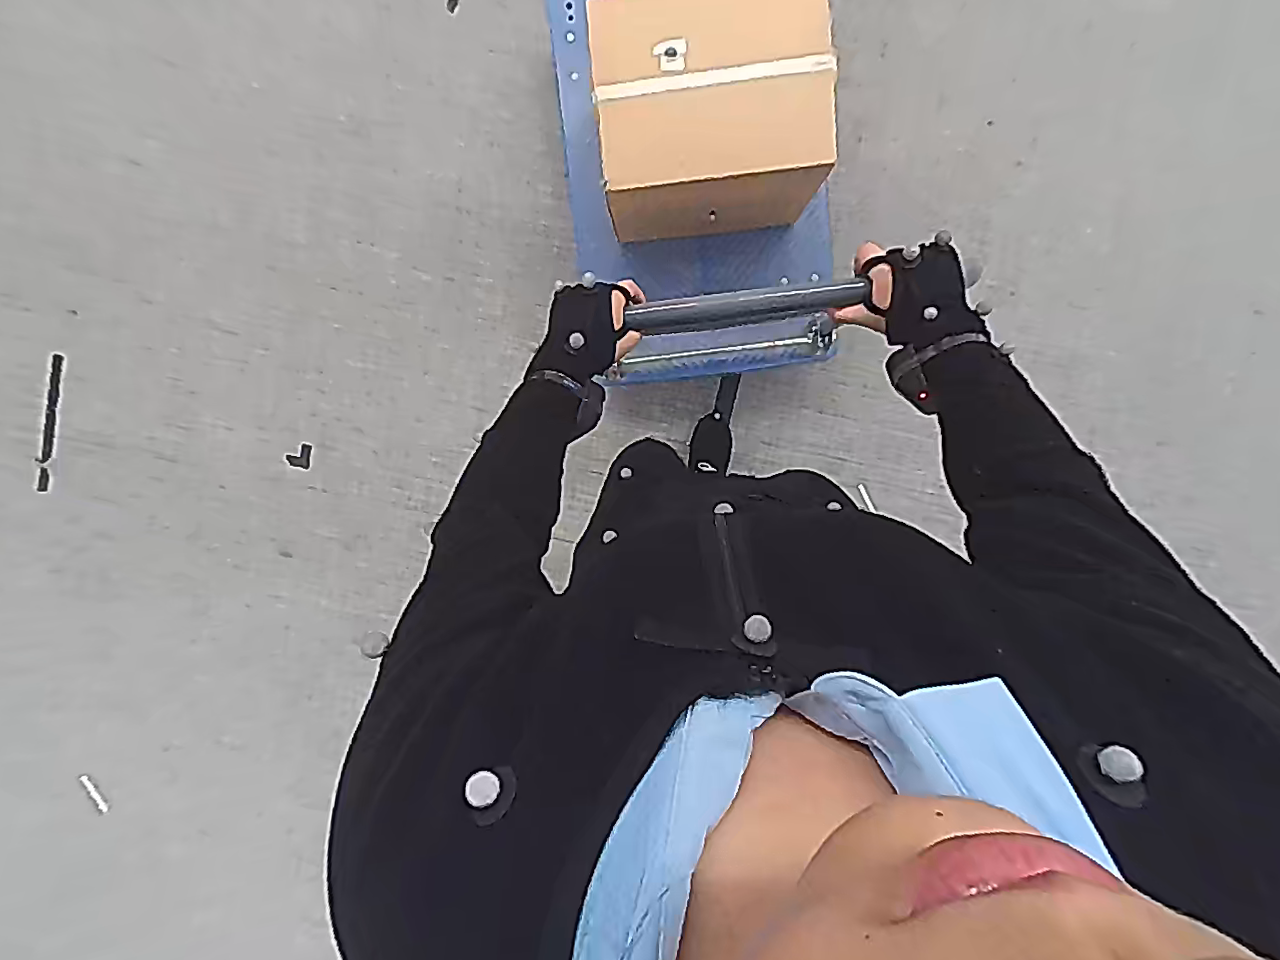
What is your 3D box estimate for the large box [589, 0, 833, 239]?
[{"bbox_3d":[0.135,-0.711,1.087,0.408,0.320,0.320,-6,96,5],"label":"large box"}]
